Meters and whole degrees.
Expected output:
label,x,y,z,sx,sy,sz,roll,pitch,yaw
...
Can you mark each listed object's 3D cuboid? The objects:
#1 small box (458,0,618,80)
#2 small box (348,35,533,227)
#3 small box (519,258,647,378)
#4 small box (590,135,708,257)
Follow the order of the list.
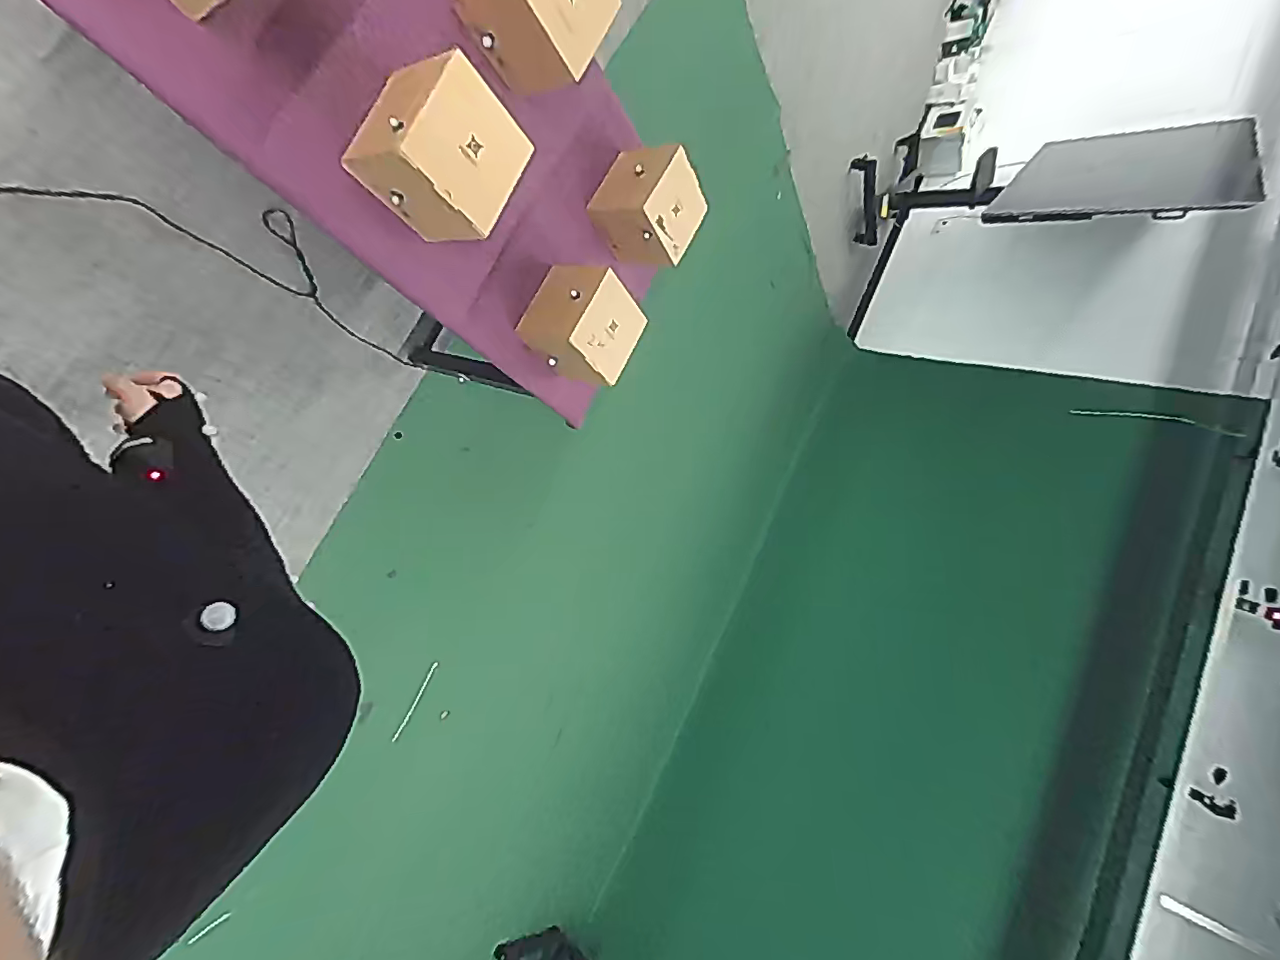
label,x,y,z,sx,sy,sz,roll,pitch,yaw
small box,-0.164,-0.793,0.869,0.168,0.176,0.179,37,76,-53
small box,-0.301,-0.512,0.816,0.168,0.176,0.179,36,76,-54
small box,-0.121,-0.342,1.131,0.168,0.176,0.179,42,72,-51
small box,0.018,-0.621,1.194,0.168,0.176,0.179,43,71,-52
